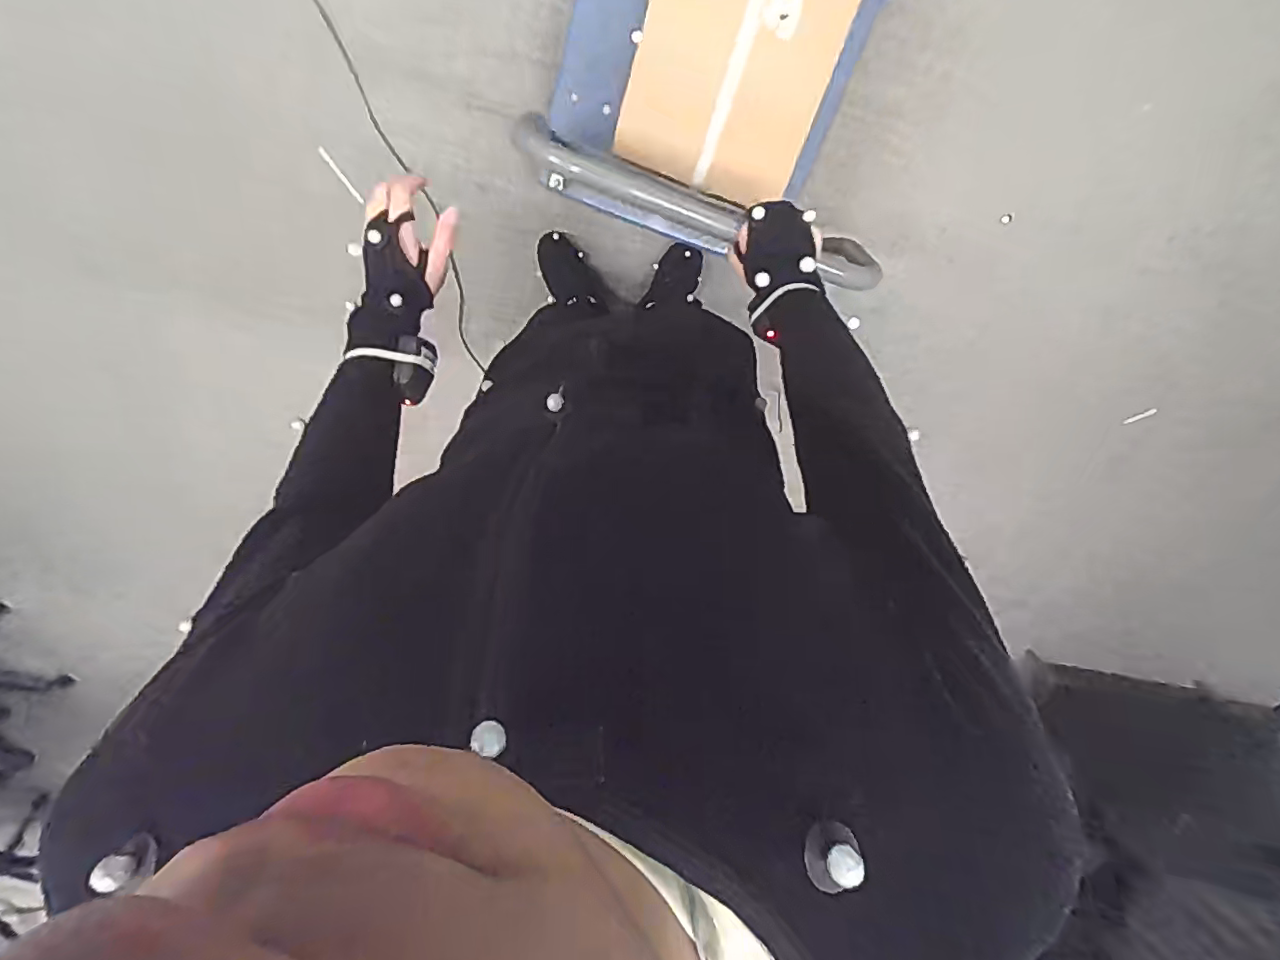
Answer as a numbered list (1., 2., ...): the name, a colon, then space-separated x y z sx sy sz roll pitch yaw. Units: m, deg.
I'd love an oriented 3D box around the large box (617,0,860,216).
1. large box: 0.158 -0.748 1.003 0.320 0.320 0.408 15 116 -10
